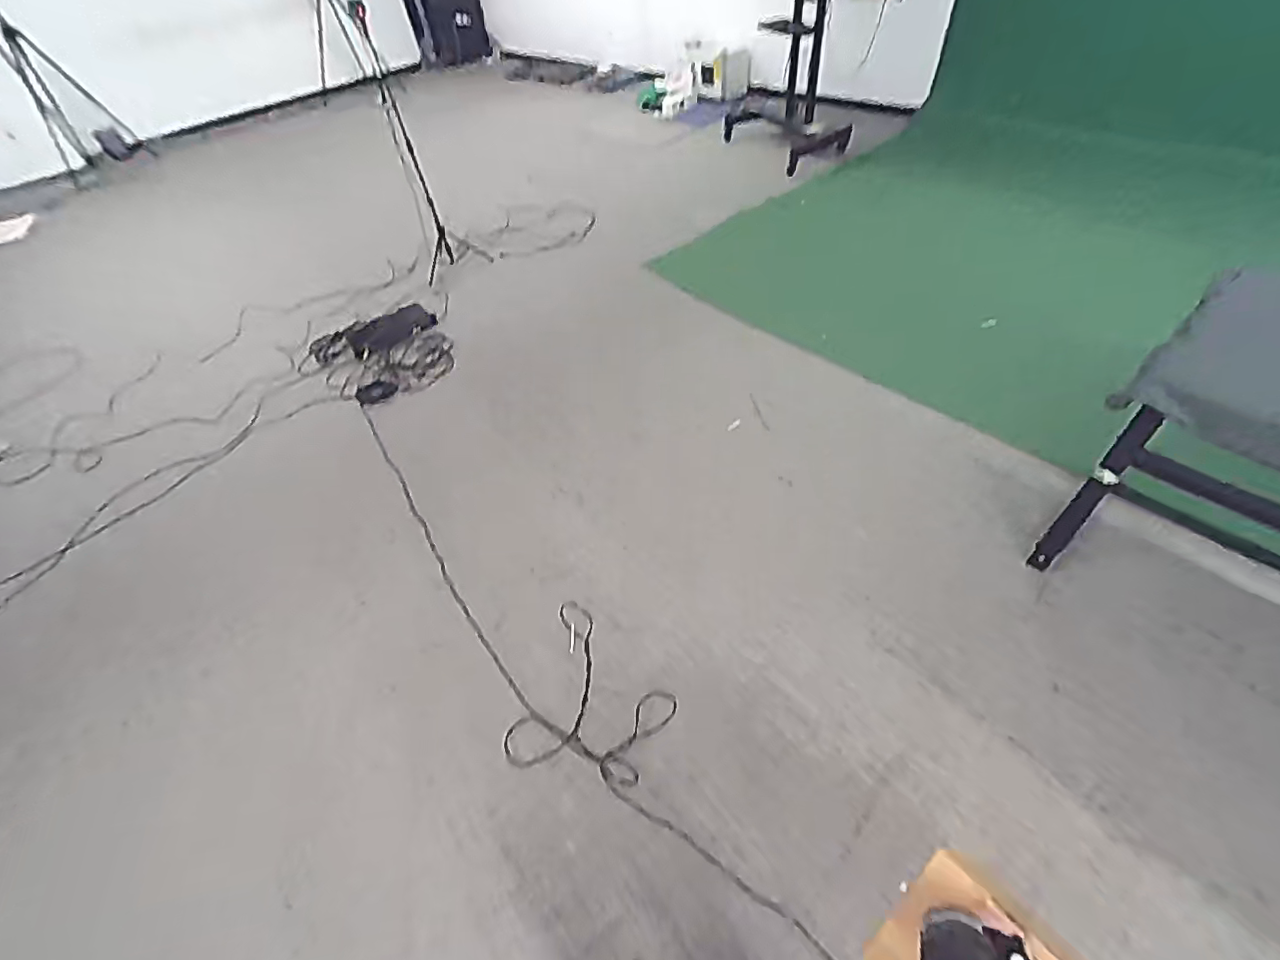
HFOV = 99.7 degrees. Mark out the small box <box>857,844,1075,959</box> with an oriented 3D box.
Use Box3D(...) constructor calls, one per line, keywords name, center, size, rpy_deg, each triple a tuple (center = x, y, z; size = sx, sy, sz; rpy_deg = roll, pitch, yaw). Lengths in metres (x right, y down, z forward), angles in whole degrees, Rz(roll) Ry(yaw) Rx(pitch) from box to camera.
Box3D(name="small box", center=(0.392, 0.581, 0.651), size=(0.176, 0.179, 0.168), rpy_deg=(-50, 43, -3))
